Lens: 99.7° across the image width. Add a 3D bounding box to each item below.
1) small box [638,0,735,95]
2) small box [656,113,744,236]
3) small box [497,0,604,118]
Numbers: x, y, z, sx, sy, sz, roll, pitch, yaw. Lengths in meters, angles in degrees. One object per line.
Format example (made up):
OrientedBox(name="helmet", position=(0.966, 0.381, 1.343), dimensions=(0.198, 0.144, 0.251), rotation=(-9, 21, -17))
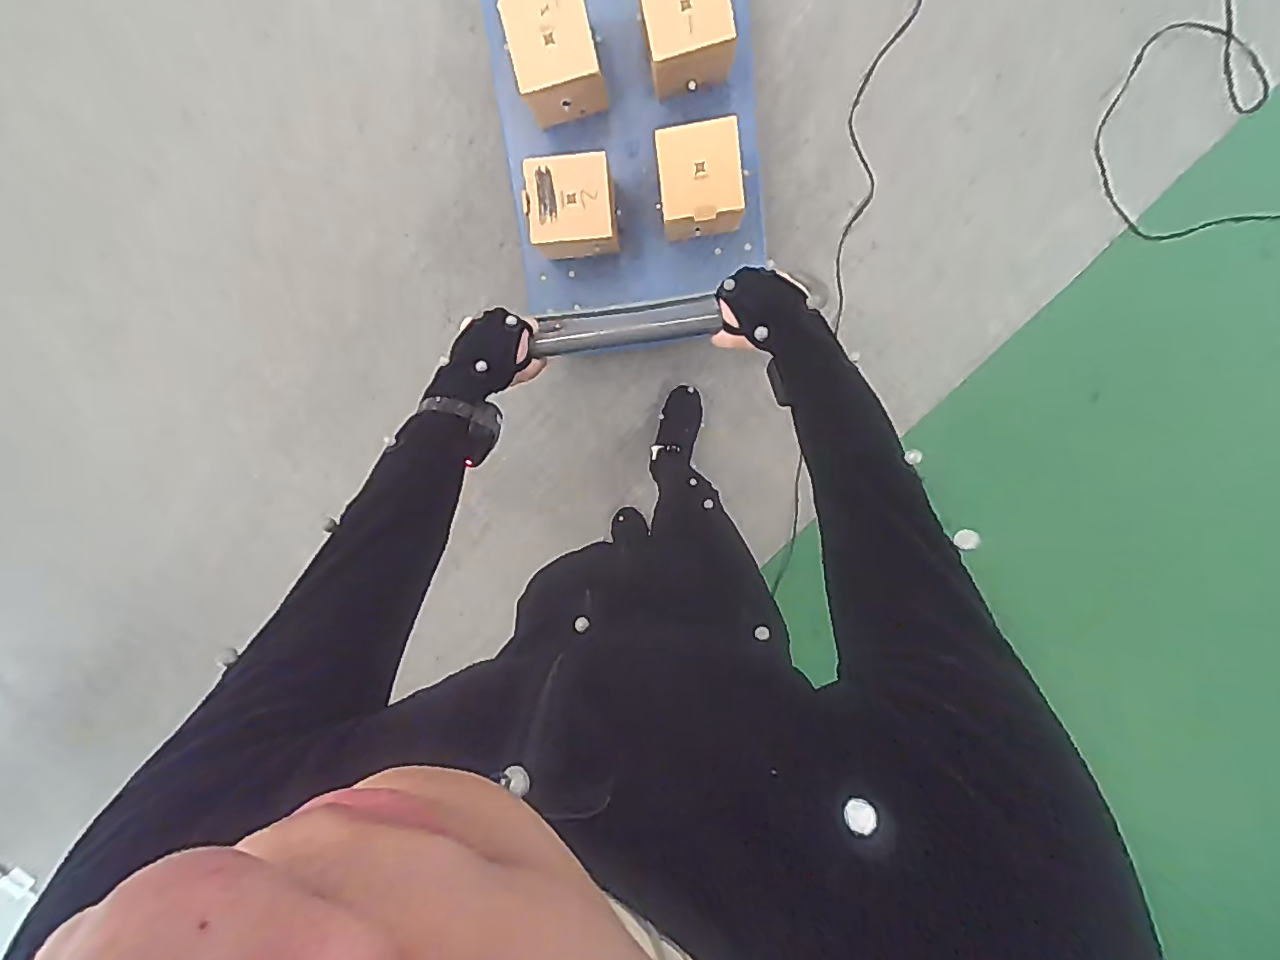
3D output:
OrientedBox(name="small box", position=(0.089, -0.934, 1.098), dimensions=(0.168, 0.176, 0.179), rotation=(-12, 102, 6))
OrientedBox(name="small box", position=(0.124, -0.644, 1.161), dimensions=(0.168, 0.176, 0.179), rotation=(-7, 102, 5))
OrientedBox(name="small box", position=(-0.177, -0.888, 1.123), dimensions=(0.168, 0.176, 0.179), rotation=(-12, 102, 5))
